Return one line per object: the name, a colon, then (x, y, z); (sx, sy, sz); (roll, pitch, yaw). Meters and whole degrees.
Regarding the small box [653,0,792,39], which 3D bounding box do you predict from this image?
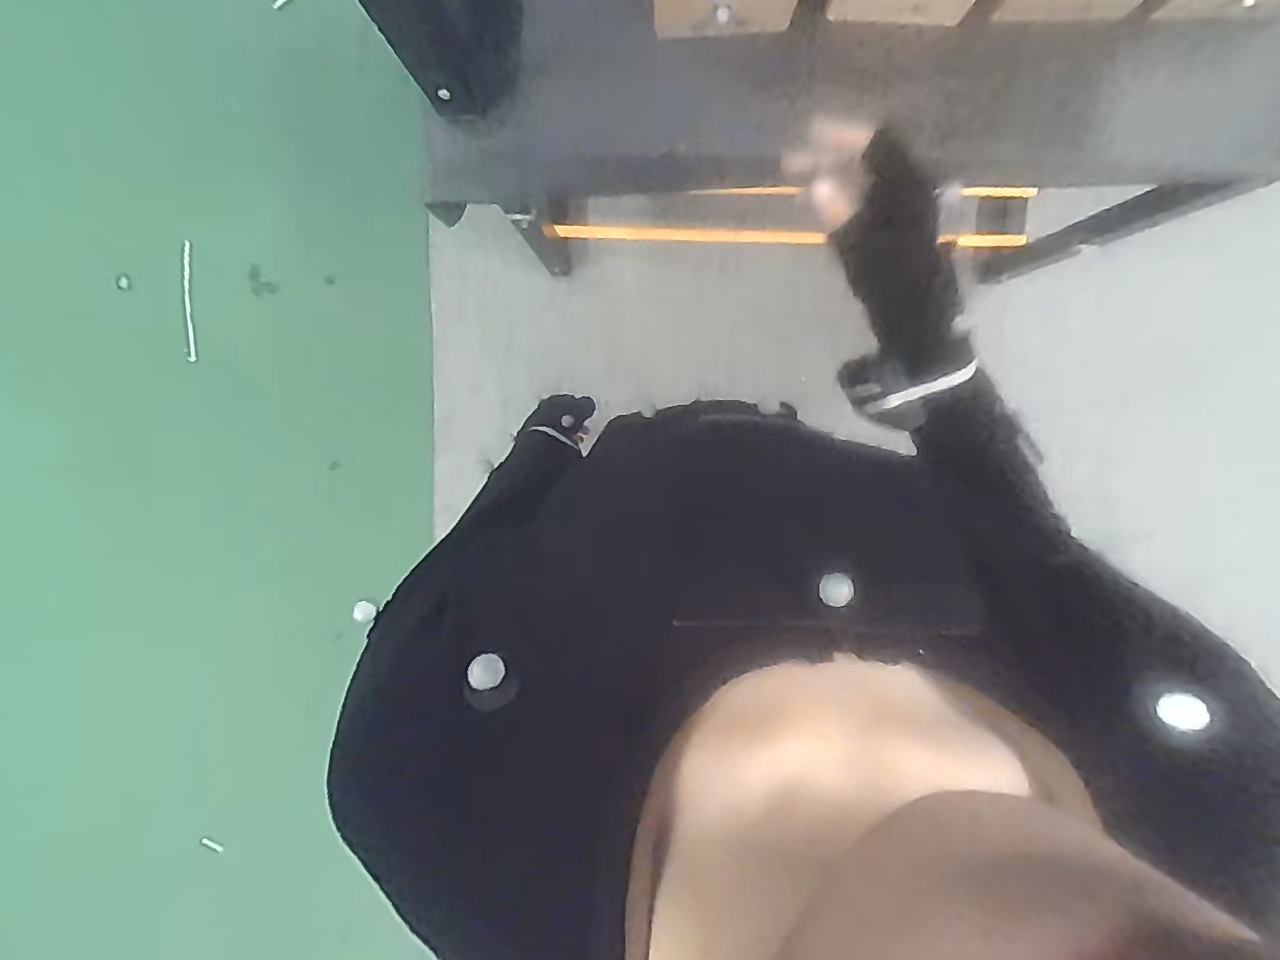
small box: (0.094, -0.638, 0.593); (0.168, 0.176, 0.179); (-4, 98, 2)
